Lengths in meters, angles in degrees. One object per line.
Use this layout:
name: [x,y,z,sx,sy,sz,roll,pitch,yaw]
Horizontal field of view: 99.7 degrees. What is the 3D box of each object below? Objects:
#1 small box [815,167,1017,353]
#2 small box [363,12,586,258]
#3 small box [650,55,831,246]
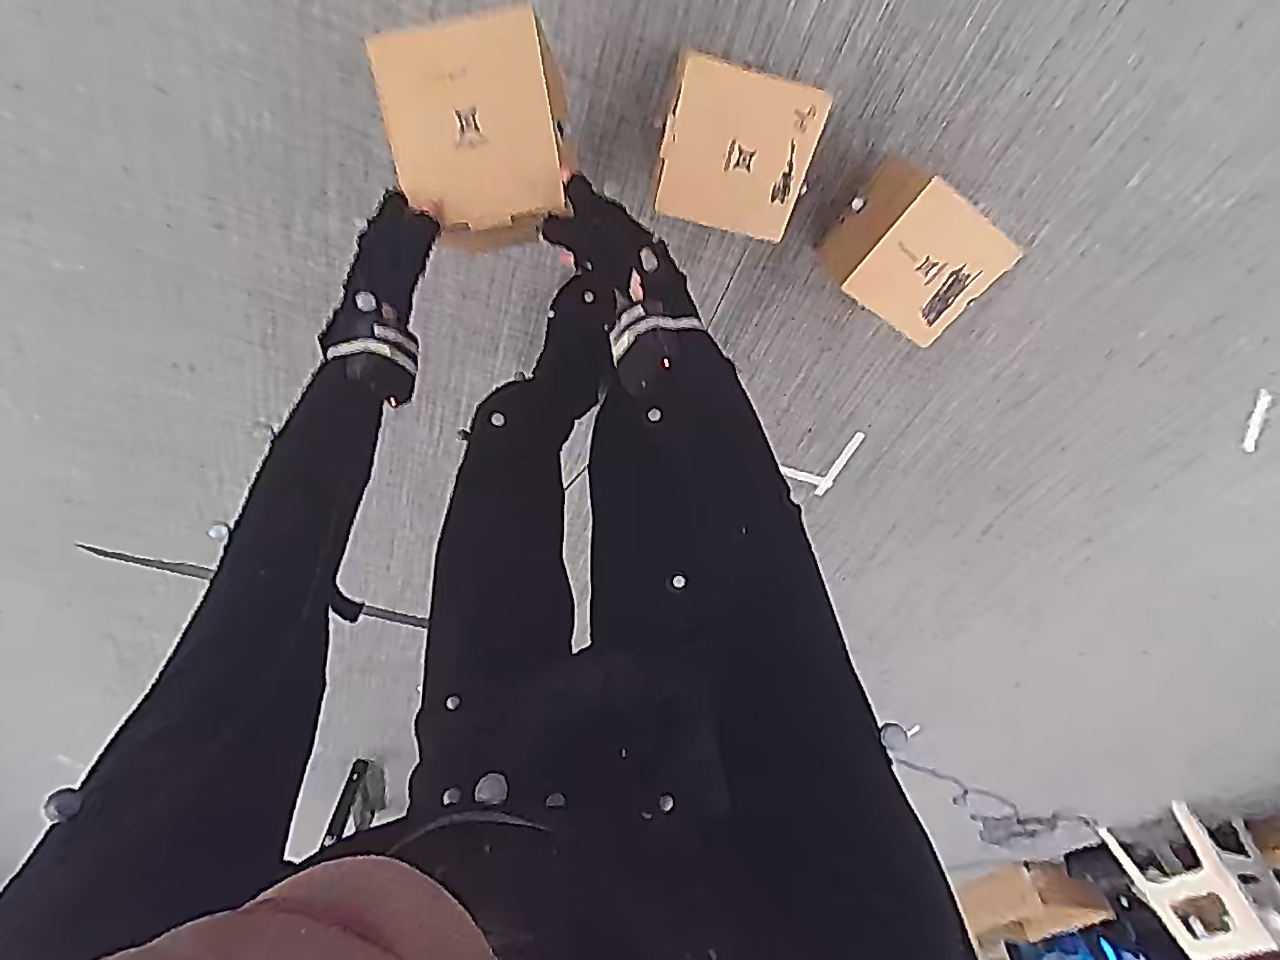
small box: [0.389,-0.326,0.793,0.179,0.176,0.168,27,125,-18]
small box: [-0.162,-0.352,0.595,0.168,0.176,0.179,-9,104,4]
small box: [0.118,-0.434,0.711,0.179,0.176,0.168,11,129,-7]
